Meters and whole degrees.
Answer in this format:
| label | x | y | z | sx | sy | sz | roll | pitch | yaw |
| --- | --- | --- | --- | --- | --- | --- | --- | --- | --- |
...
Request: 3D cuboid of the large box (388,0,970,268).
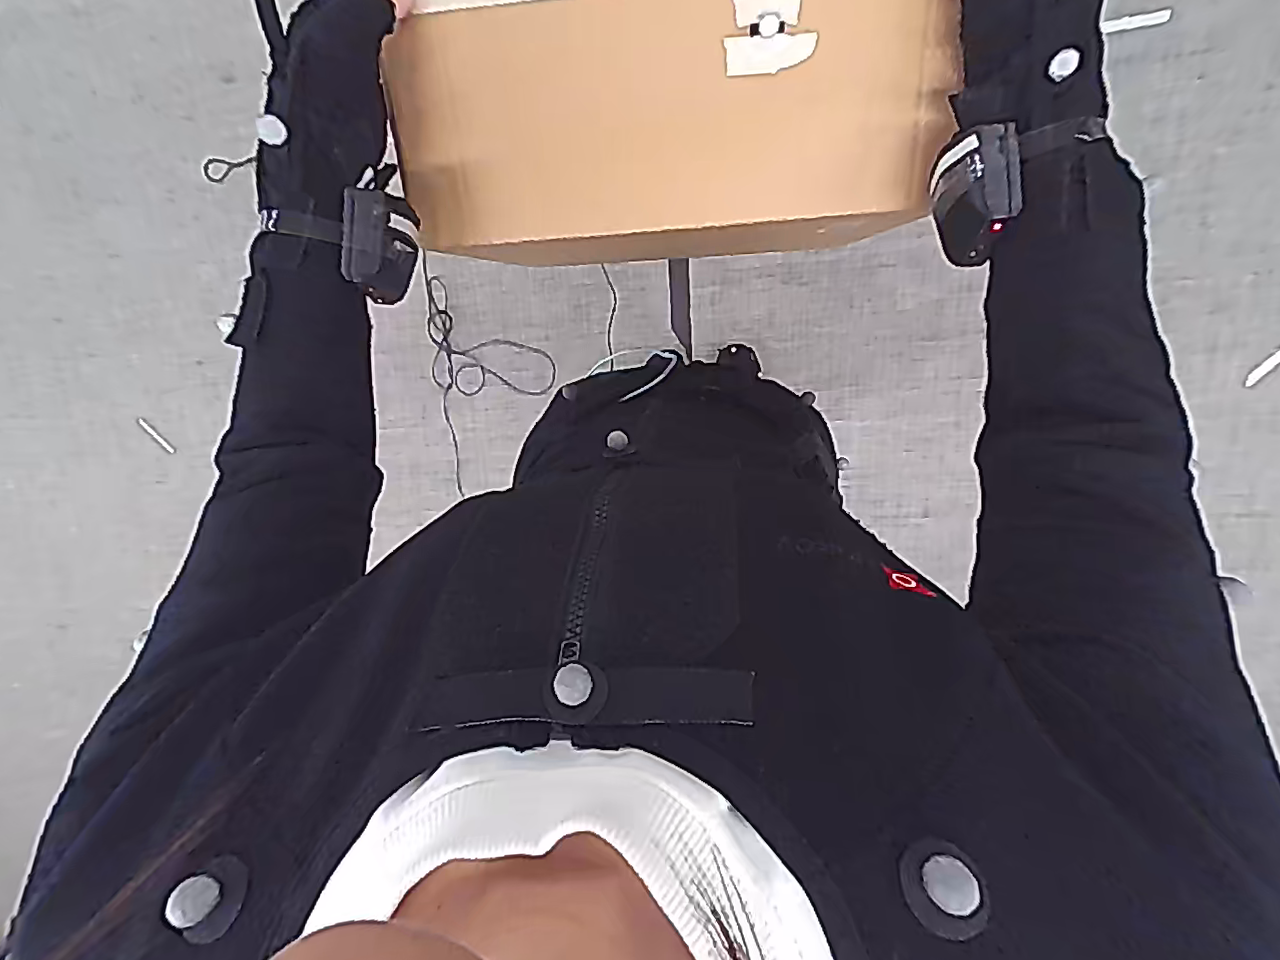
| label | x | y | z | sx | sy | sz | roll | pitch | yaw |
| --- | --- | --- | --- | --- | --- | --- | --- | --- | --- |
| large box | 0.028 | -0.389 | 0.504 | 0.408 | 0.320 | 0.320 | -2 | 109 | 6 |
